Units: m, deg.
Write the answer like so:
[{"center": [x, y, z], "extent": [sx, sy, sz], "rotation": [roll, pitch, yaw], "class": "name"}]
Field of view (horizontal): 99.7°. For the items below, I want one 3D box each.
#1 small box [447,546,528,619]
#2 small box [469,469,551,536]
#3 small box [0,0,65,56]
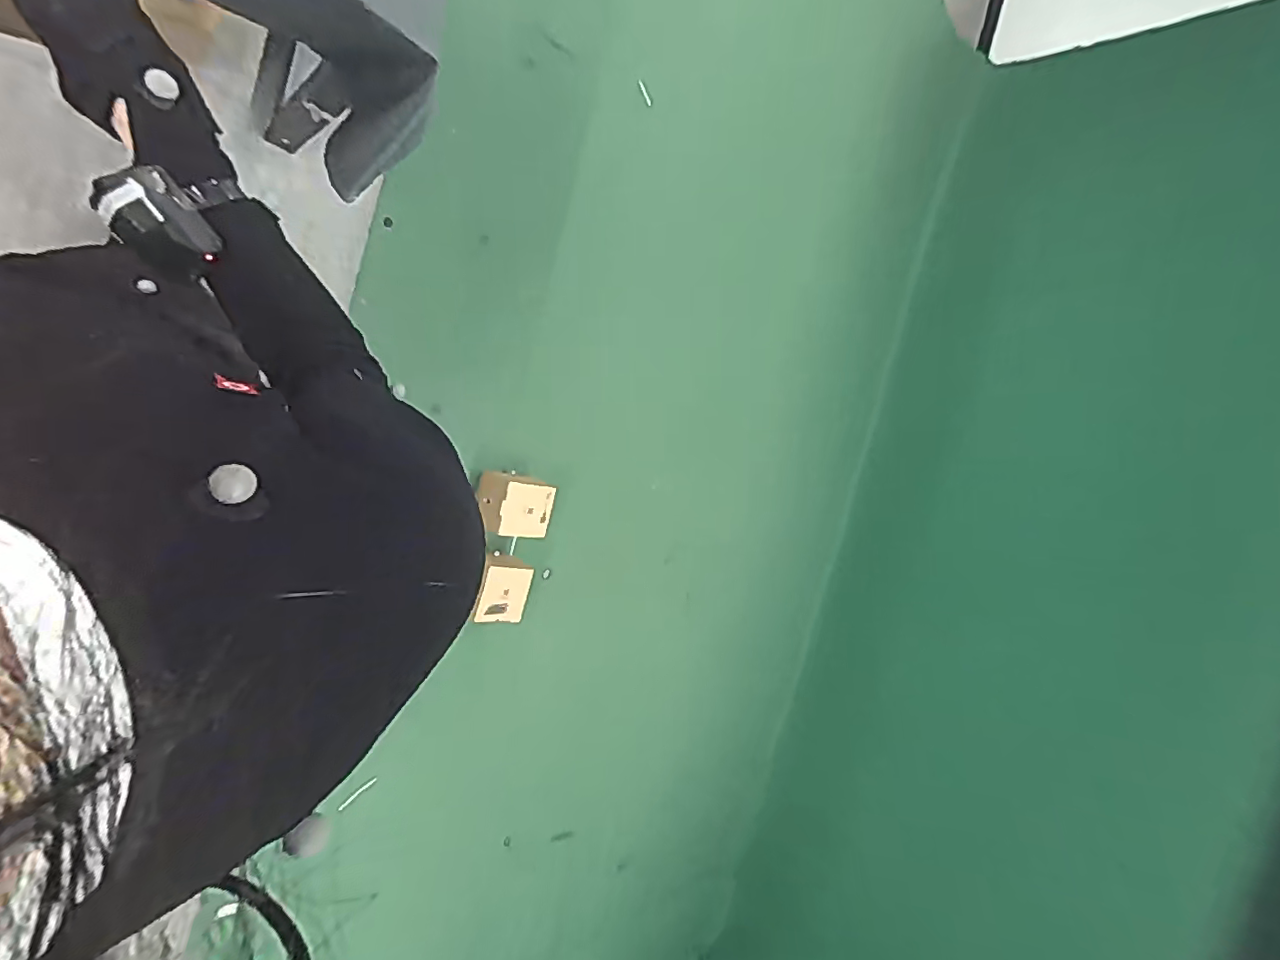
[{"center": [-0.487, 0.324, 1.707], "extent": [0.168, 0.176, 0.179], "rotation": [16, 91, -47], "class": "small box"}, {"center": [-0.412, 0.067, 1.696], "extent": [0.179, 0.176, 0.168], "rotation": [12, 95, -46], "class": "small box"}, {"center": [-0.466, -0.384, 0.307], "extent": [0.168, 0.176, 0.179], "rotation": [-12, 118, -44], "class": "small box"}]
